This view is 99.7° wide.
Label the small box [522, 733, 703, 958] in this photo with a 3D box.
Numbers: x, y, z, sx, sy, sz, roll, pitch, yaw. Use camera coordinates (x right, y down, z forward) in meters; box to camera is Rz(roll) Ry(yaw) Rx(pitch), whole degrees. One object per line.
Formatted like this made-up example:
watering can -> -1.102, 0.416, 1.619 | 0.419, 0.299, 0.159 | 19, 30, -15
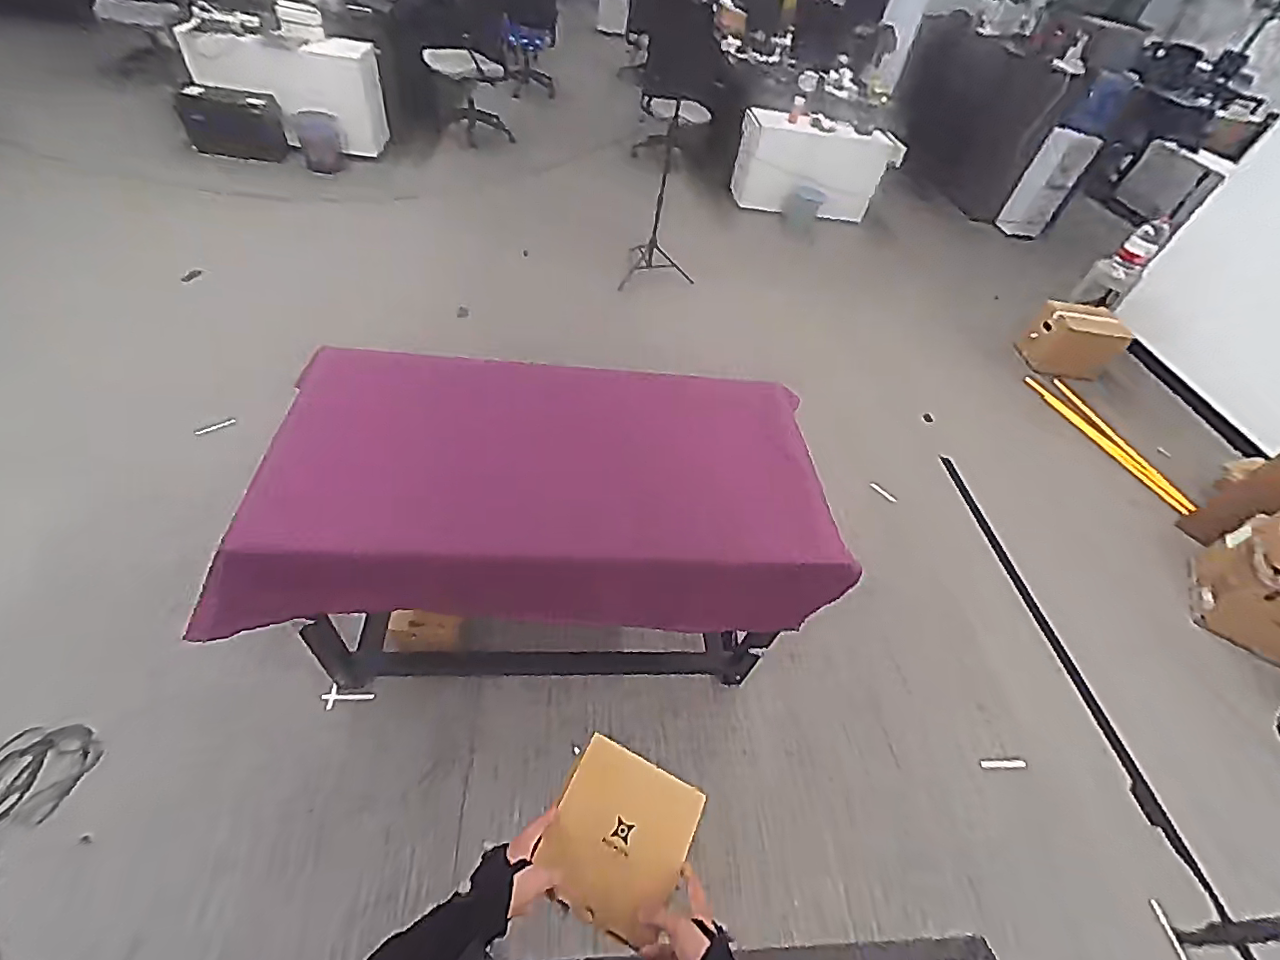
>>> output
small box -> -0.043, 0.469, 0.709 | 0.168, 0.176, 0.179 | 28, 53, 5
